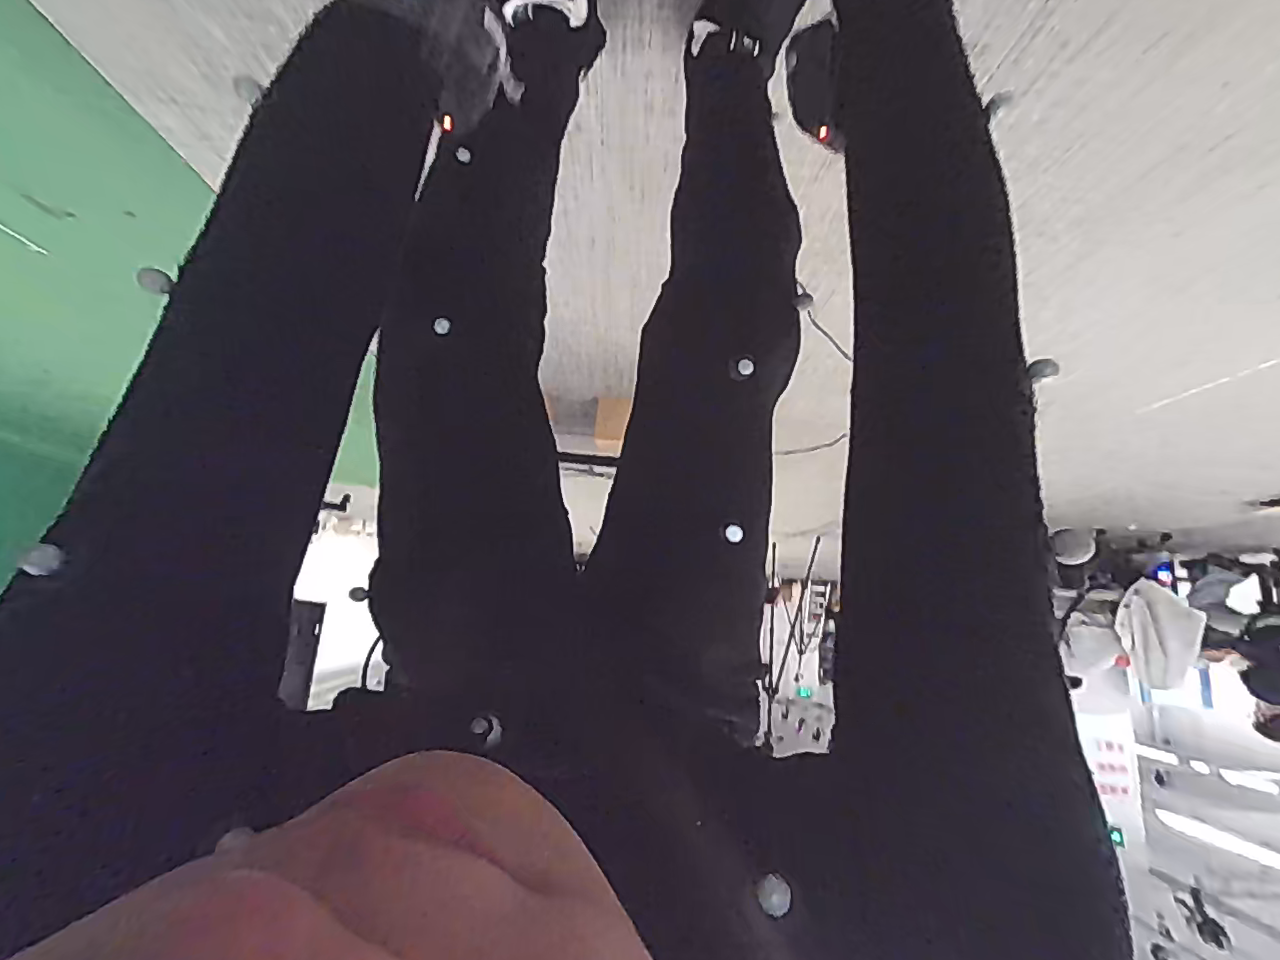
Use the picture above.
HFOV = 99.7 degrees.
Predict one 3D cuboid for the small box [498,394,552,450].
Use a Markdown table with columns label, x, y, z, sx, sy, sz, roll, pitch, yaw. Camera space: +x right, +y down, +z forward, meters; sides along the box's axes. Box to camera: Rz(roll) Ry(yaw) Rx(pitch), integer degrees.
| label | x | y | z | sx | sy | sz | roll | pitch | yaw |
| --- | --- | --- | --- | --- | --- | --- | --- | --- | --- |
| small box | -0.444 | -0.226 | 2.102 | 0.168 | 0.176 | 0.179 | 5 | 168 | 2 |
